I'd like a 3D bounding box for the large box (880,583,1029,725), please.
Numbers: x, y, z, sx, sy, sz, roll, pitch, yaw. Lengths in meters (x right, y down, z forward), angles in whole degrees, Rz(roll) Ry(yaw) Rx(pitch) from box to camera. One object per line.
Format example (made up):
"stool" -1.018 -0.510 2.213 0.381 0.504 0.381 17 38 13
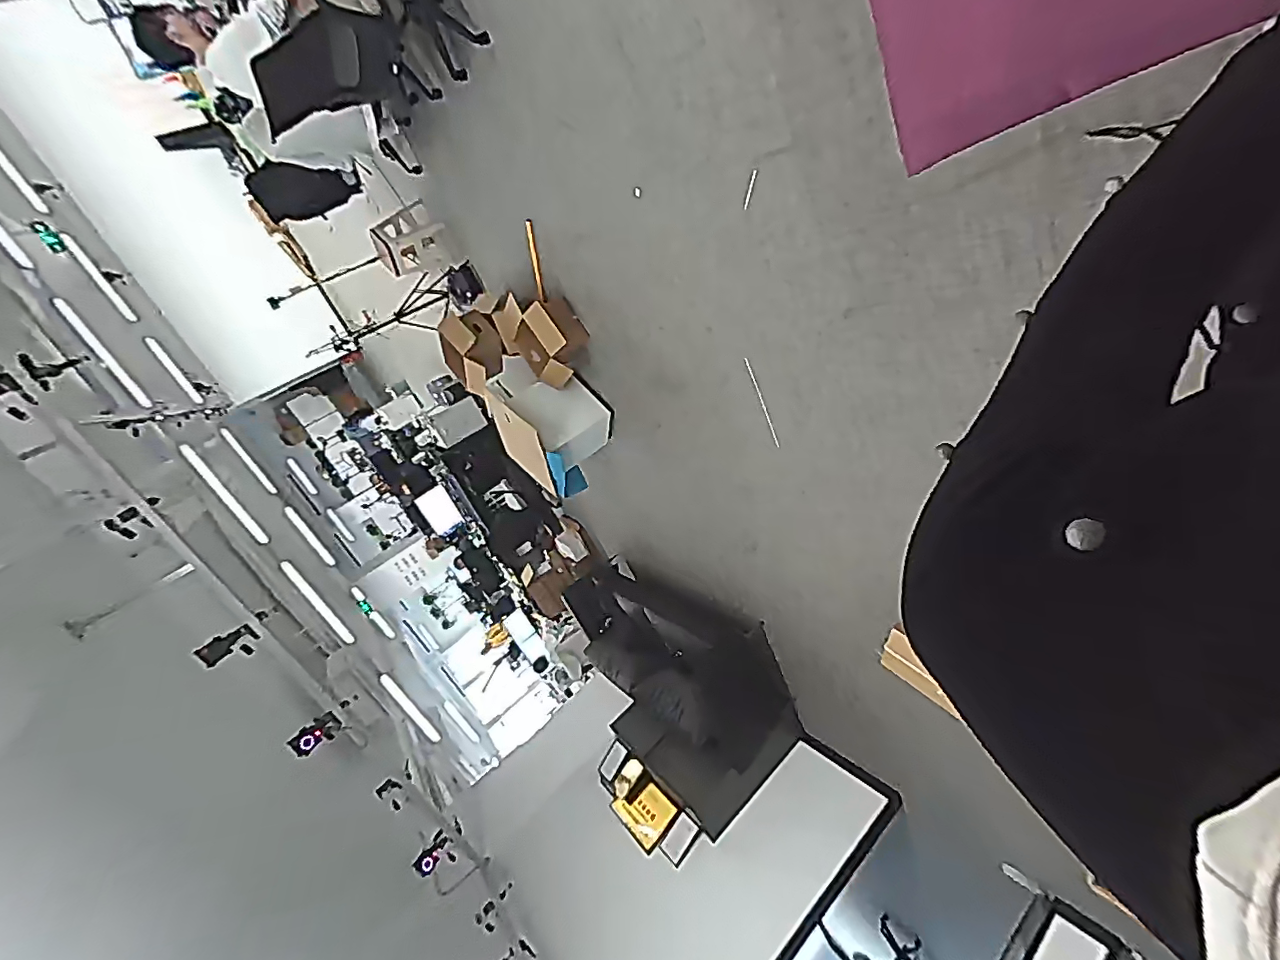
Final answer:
"large box" 1.278 0.703 2.230 0.408 0.320 0.320 34 150 37
